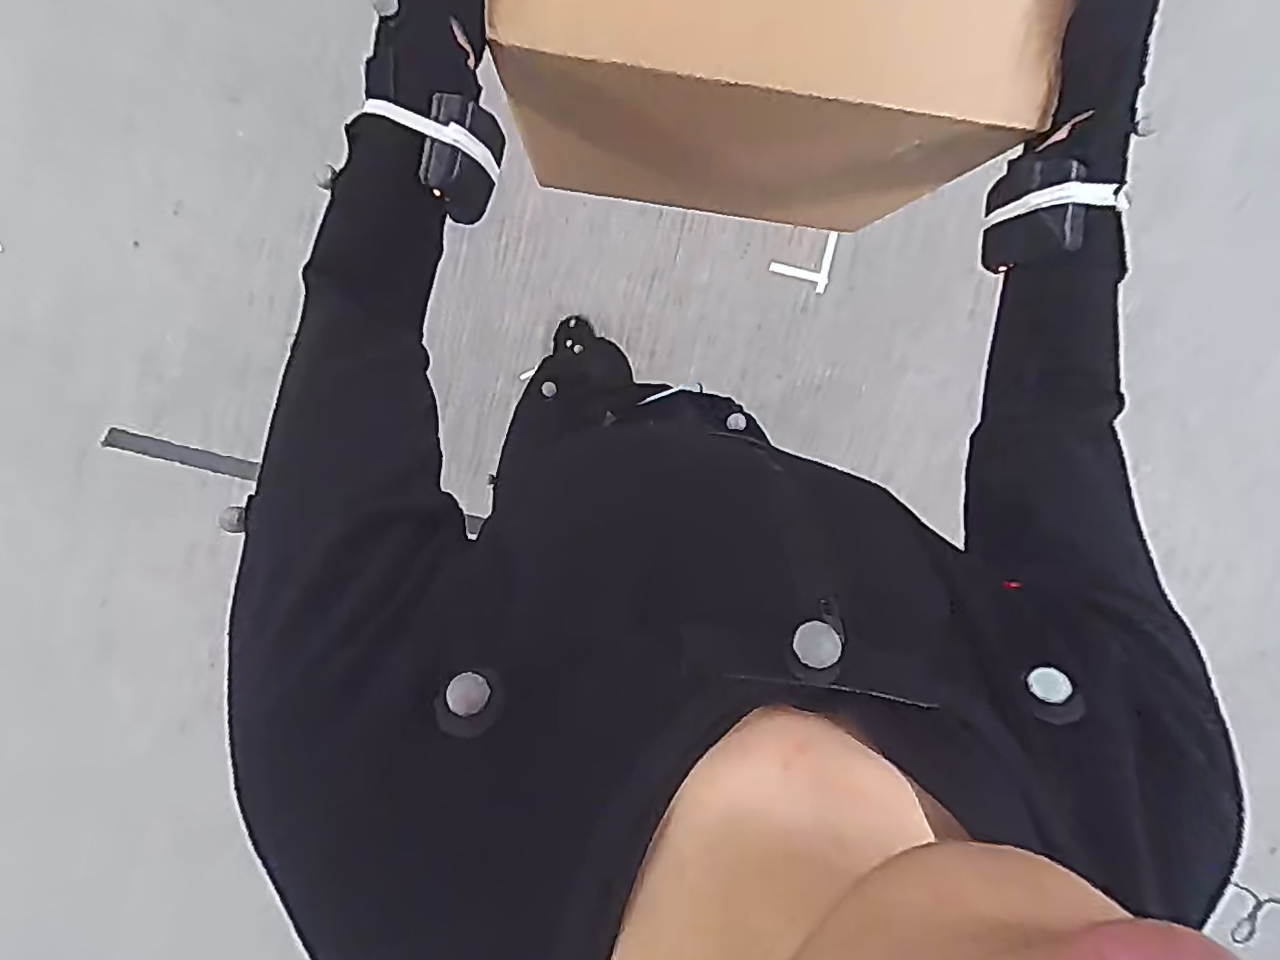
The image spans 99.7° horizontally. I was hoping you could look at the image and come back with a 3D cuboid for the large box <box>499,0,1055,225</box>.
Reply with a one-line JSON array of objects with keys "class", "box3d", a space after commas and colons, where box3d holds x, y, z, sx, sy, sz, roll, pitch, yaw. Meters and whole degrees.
[{"class": "large box", "box3d": [0.100, -0.463, 0.506, 0.408, 0.320, 0.320, 6, 102, -6]}]
